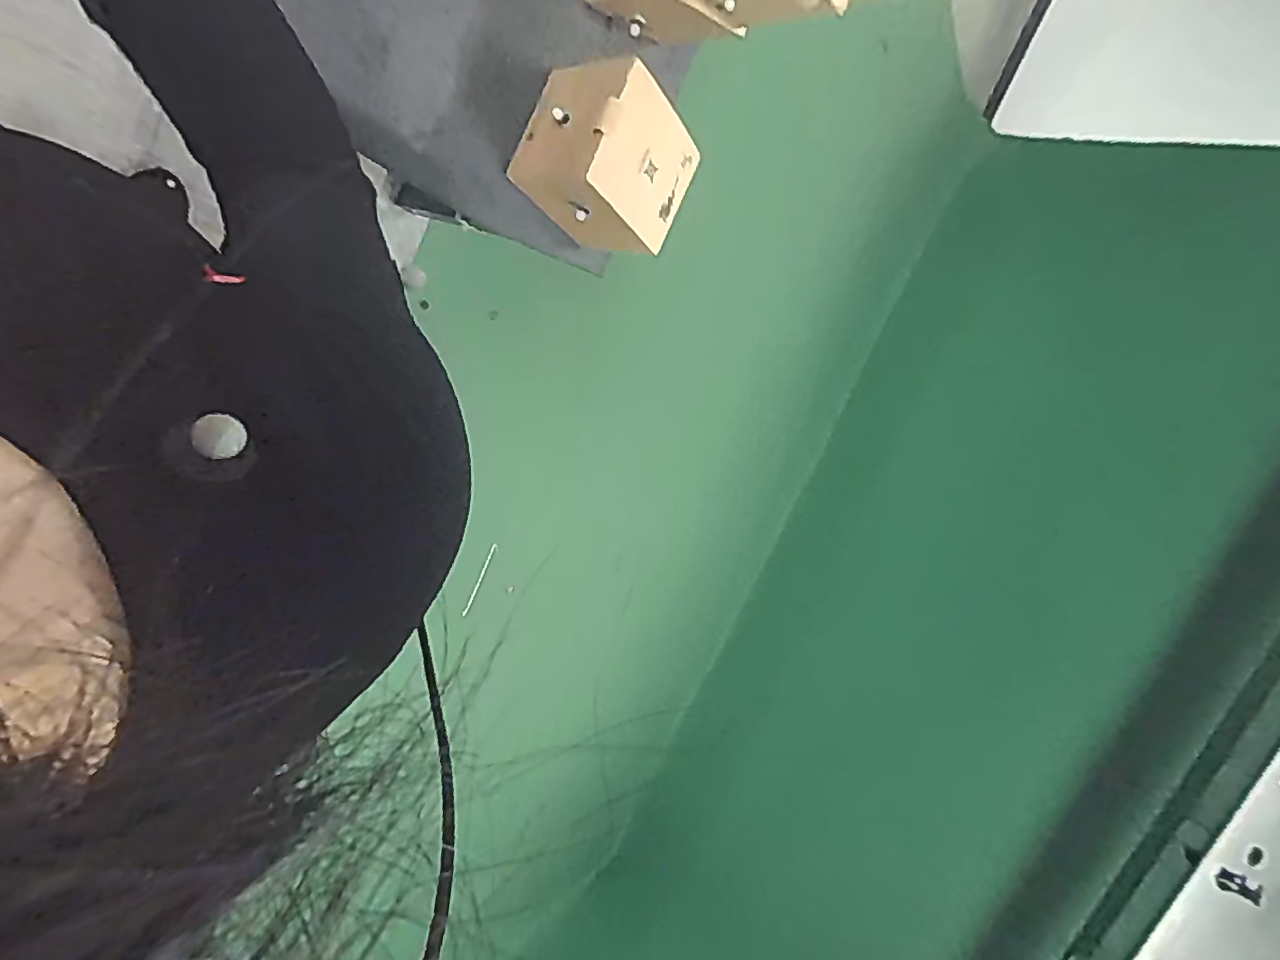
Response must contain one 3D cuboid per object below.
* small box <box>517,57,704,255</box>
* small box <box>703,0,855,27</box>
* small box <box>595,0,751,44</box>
[{"bbox_3d":[-0.044,-0.449,0.777,0.179,0.176,0.168,23,92,-53],"label":"small box"},{"bbox_3d":[0.153,-0.649,0.600,0.168,0.176,0.179,-9,121,-42],"label":"small box"},{"bbox_3d":[0.054,-0.714,0.716,0.168,0.176,0.179,-14,126,-42],"label":"small box"}]
